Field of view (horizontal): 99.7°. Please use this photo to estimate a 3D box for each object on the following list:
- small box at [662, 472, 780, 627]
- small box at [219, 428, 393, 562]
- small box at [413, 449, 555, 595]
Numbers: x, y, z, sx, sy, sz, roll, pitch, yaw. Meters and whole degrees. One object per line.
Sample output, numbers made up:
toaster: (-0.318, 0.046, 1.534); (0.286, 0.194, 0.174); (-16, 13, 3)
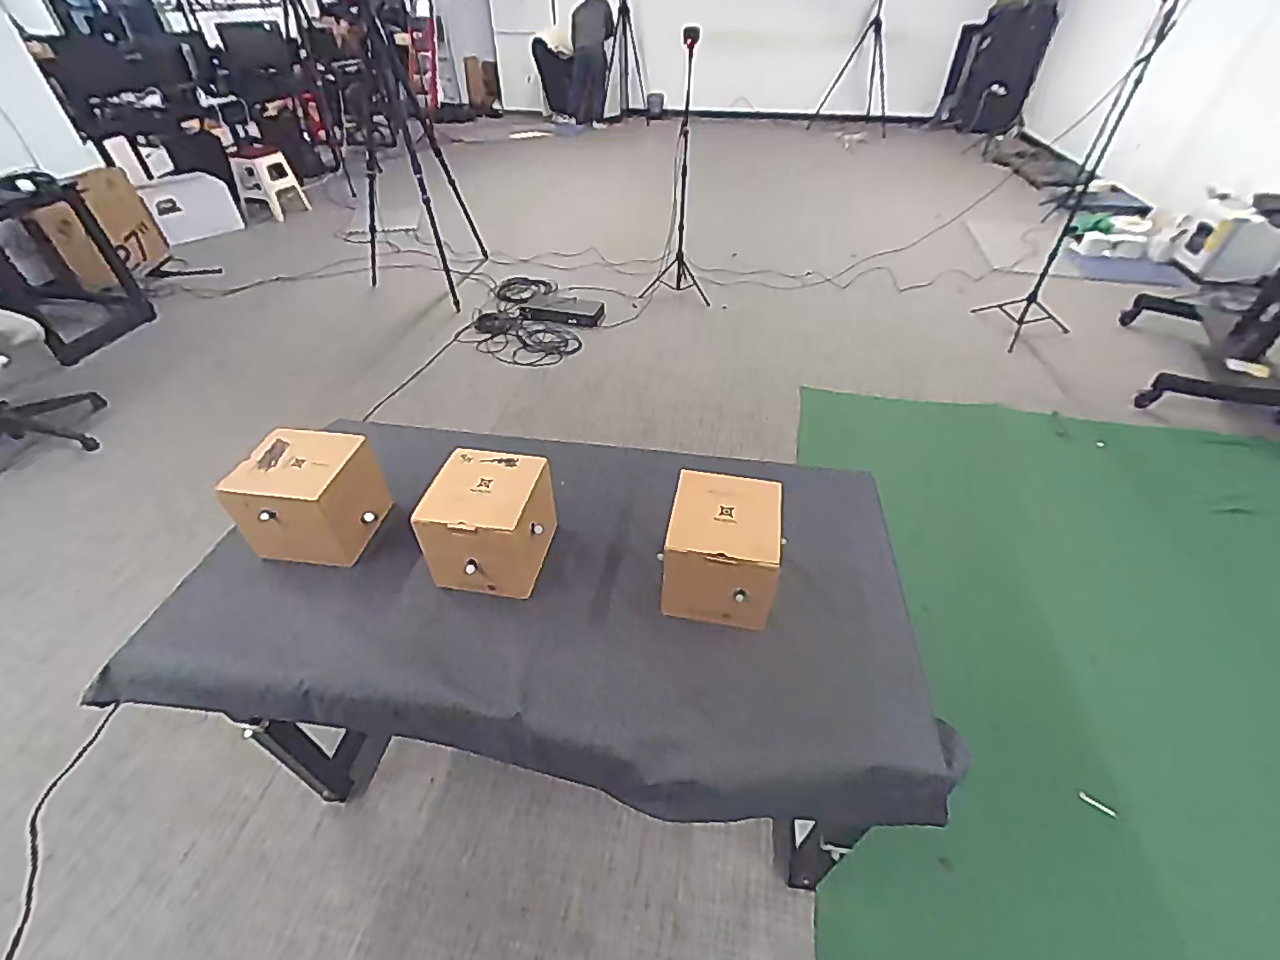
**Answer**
small box: (0.130, 0.113, 0.877); (0.168, 0.176, 0.179); (8, 42, 7)
small box: (-0.575, 0.029, 0.960); (0.179, 0.176, 0.168); (6, 43, 4)
small box: (-0.249, 0.072, 0.918); (0.168, 0.176, 0.179); (7, 43, 7)
